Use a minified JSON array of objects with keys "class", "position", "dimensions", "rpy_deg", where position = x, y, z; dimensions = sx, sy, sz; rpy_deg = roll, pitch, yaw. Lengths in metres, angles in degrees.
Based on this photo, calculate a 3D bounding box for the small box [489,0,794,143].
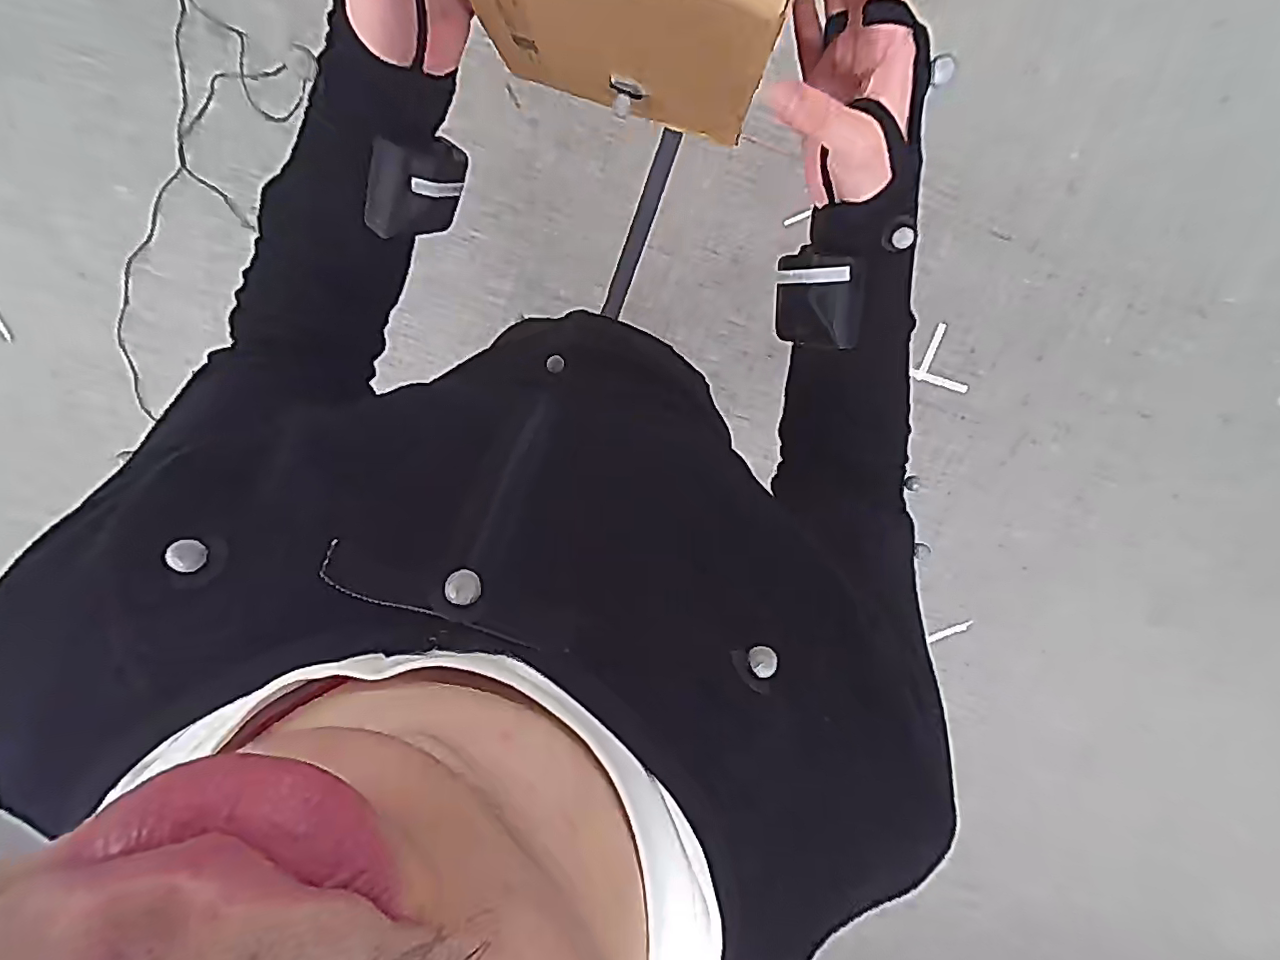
[{"class":"small box","position":[0.012,-0.322,0.286],"dimensions":[0.176,0.168,0.179],"rpy_deg":[16,106,-3]}]
